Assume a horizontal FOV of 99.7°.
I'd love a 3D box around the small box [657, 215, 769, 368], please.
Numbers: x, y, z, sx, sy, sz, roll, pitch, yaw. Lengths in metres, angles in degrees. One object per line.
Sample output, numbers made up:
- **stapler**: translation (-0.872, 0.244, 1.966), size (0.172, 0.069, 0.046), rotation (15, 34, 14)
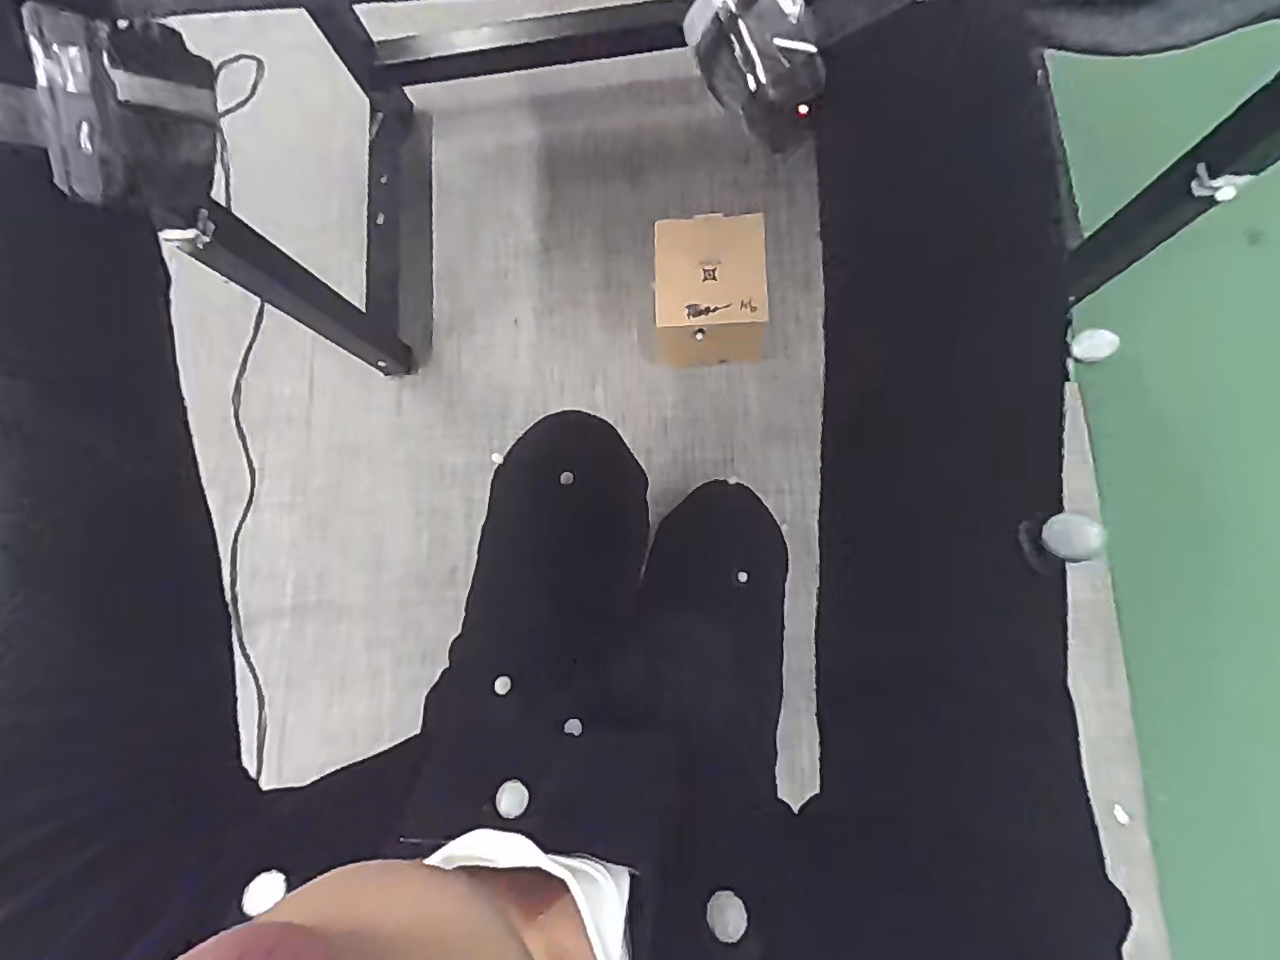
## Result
- **small box**: translation (0.117, -0.298, 0.884), size (0.168, 0.176, 0.179), rotation (-1, 80, 7)
